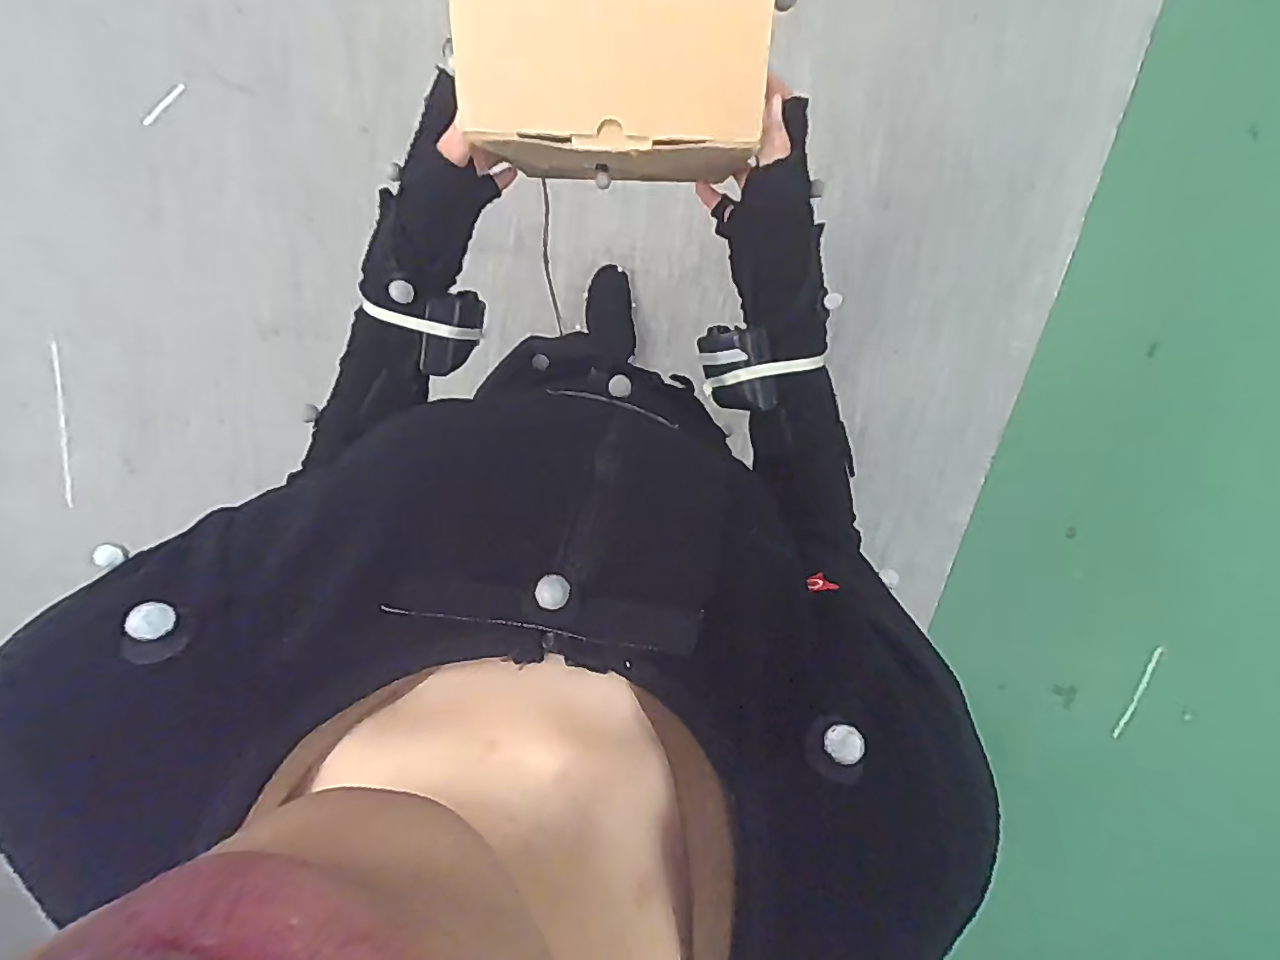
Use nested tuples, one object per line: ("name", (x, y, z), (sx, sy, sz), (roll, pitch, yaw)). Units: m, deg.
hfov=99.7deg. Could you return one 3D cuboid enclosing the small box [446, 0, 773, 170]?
("small box", (-0.012, -0.302, 0.328), (0.168, 0.176, 0.179), (2, 114, 1))
